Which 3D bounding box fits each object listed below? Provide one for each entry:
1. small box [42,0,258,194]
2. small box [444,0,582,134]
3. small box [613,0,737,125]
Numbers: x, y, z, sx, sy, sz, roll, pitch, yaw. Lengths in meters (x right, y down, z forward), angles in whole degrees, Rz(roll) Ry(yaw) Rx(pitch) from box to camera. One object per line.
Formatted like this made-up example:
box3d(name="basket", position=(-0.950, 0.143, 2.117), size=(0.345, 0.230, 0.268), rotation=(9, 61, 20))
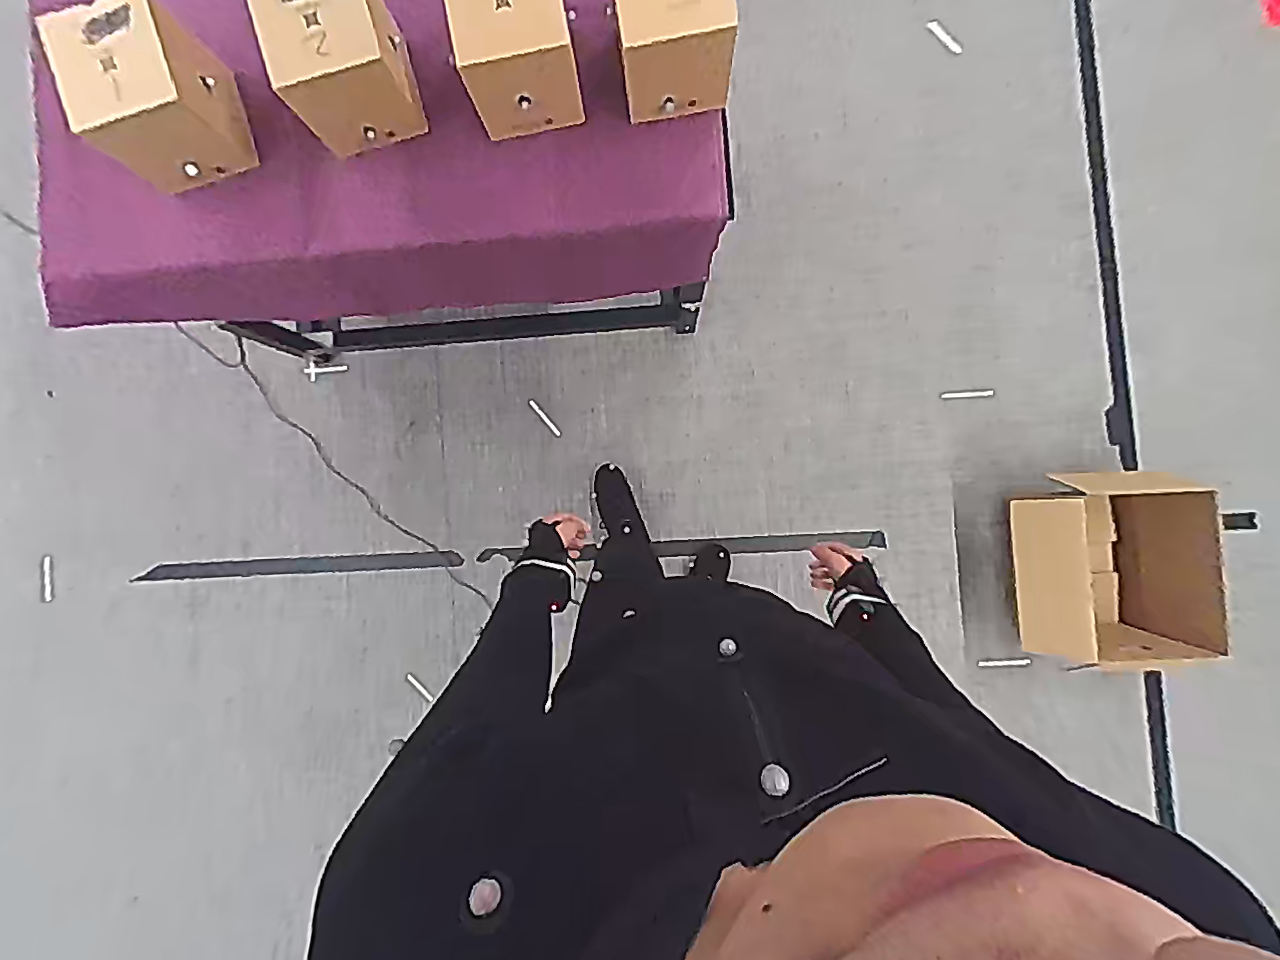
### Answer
box3d(name="small box", position=(-0.759, -0.599, 0.857), size=(0.168, 0.176, 0.179), rotation=(-18, 89, 1))
box3d(name="small box", position=(-0.191, -0.676, 0.842), size=(0.168, 0.176, 0.179), rotation=(-10, 88, 1))
box3d(name="small box", position=(0.047, -0.698, 0.835), size=(0.168, 0.176, 0.179), rotation=(-8, 88, 3))
